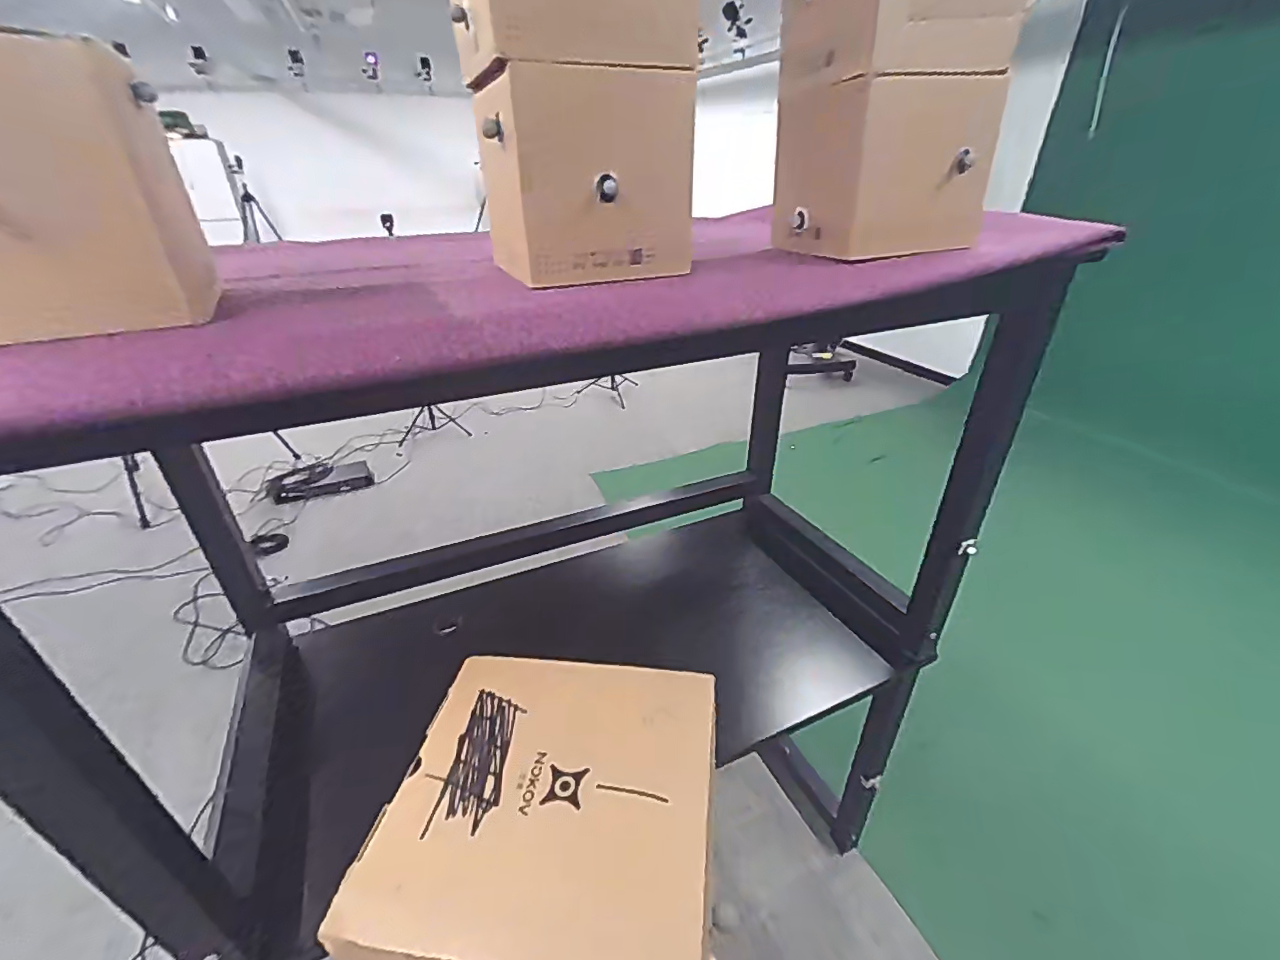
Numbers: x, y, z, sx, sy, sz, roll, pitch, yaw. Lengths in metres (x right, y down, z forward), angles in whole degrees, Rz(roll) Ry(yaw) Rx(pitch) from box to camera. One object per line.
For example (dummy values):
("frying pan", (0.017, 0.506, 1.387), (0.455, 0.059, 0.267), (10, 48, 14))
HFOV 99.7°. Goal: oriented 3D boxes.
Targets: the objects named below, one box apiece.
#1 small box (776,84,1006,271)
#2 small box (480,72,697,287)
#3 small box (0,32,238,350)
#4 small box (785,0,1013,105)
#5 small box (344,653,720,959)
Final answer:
("small box", (0.278, -0.353, 0.642), (0.179, 0.176, 0.168), (-13, 29, -15))
("small box", (-0.055, -0.296, 0.550), (0.168, 0.176, 0.179), (-12, 32, -21))
("small box", (-0.423, -0.197, 0.382), (0.179, 0.176, 0.168), (-17, 35, -26))
("small box", (0.266, -0.498, 0.569), (0.179, 0.176, 0.168), (-10, 29, -13))
("small box", (-0.040, 0.238, 0.349), (0.179, 0.176, 0.168), (2, 31, 9))
